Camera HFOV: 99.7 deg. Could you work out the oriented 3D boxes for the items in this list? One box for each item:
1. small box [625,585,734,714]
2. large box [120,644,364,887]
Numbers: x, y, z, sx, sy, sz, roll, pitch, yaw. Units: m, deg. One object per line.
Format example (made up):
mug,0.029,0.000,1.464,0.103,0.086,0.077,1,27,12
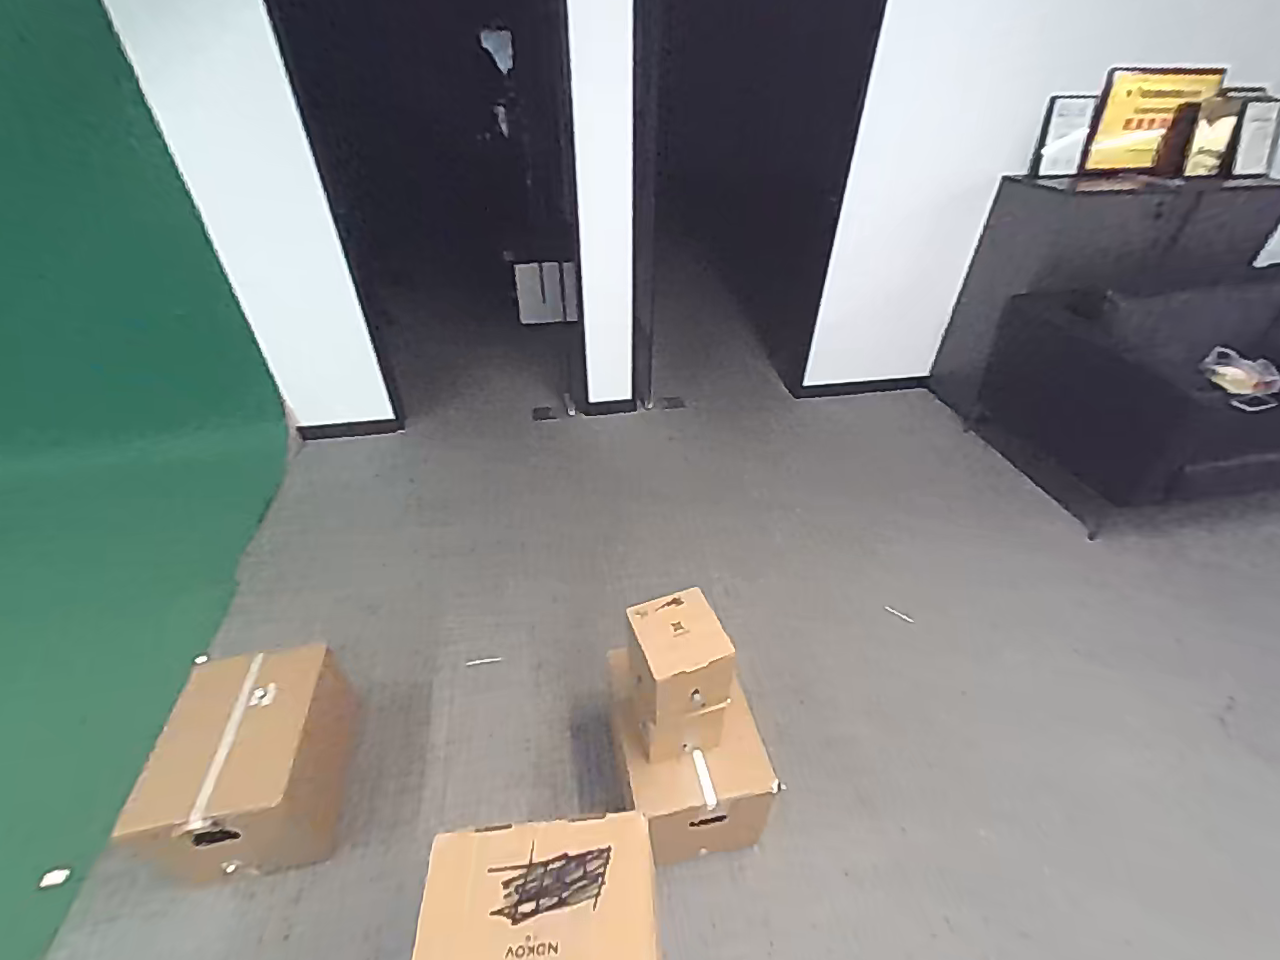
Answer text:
small box,0.076,0.353,1.107,0.168,0.176,0.179,-14,41,-15
large box,-0.921,0.687,1.331,0.320,0.320,0.408,-7,38,-9
